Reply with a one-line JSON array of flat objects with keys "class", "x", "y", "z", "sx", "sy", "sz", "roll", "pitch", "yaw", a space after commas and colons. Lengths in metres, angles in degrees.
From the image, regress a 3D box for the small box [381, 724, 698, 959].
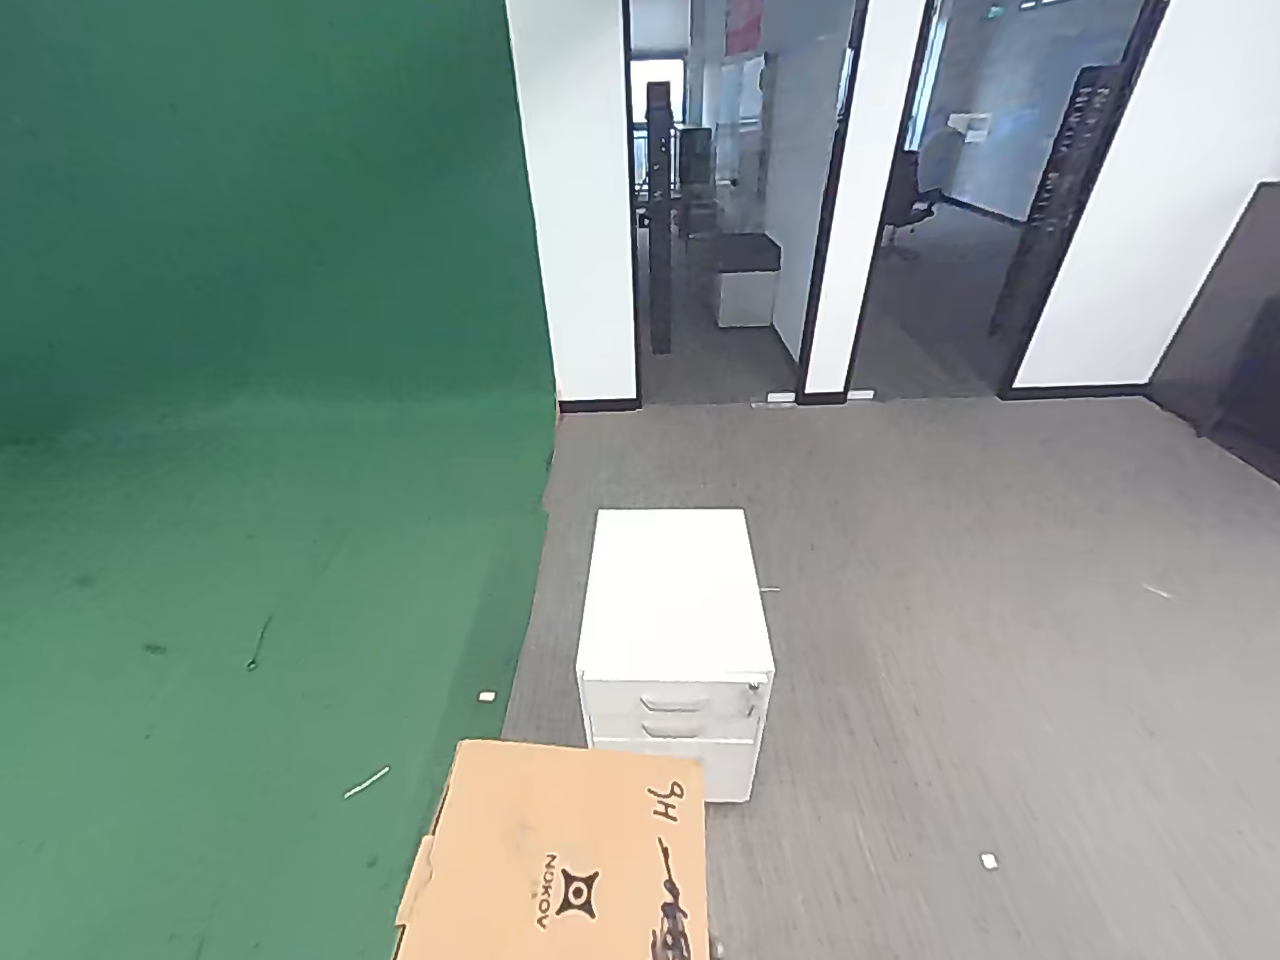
[{"class": "small box", "x": -0.057, "y": 0.299, "z": 0.383, "sx": 0.179, "sy": 0.176, "sz": 0.168, "roll": 6, "pitch": 40, "yaw": 0}]
